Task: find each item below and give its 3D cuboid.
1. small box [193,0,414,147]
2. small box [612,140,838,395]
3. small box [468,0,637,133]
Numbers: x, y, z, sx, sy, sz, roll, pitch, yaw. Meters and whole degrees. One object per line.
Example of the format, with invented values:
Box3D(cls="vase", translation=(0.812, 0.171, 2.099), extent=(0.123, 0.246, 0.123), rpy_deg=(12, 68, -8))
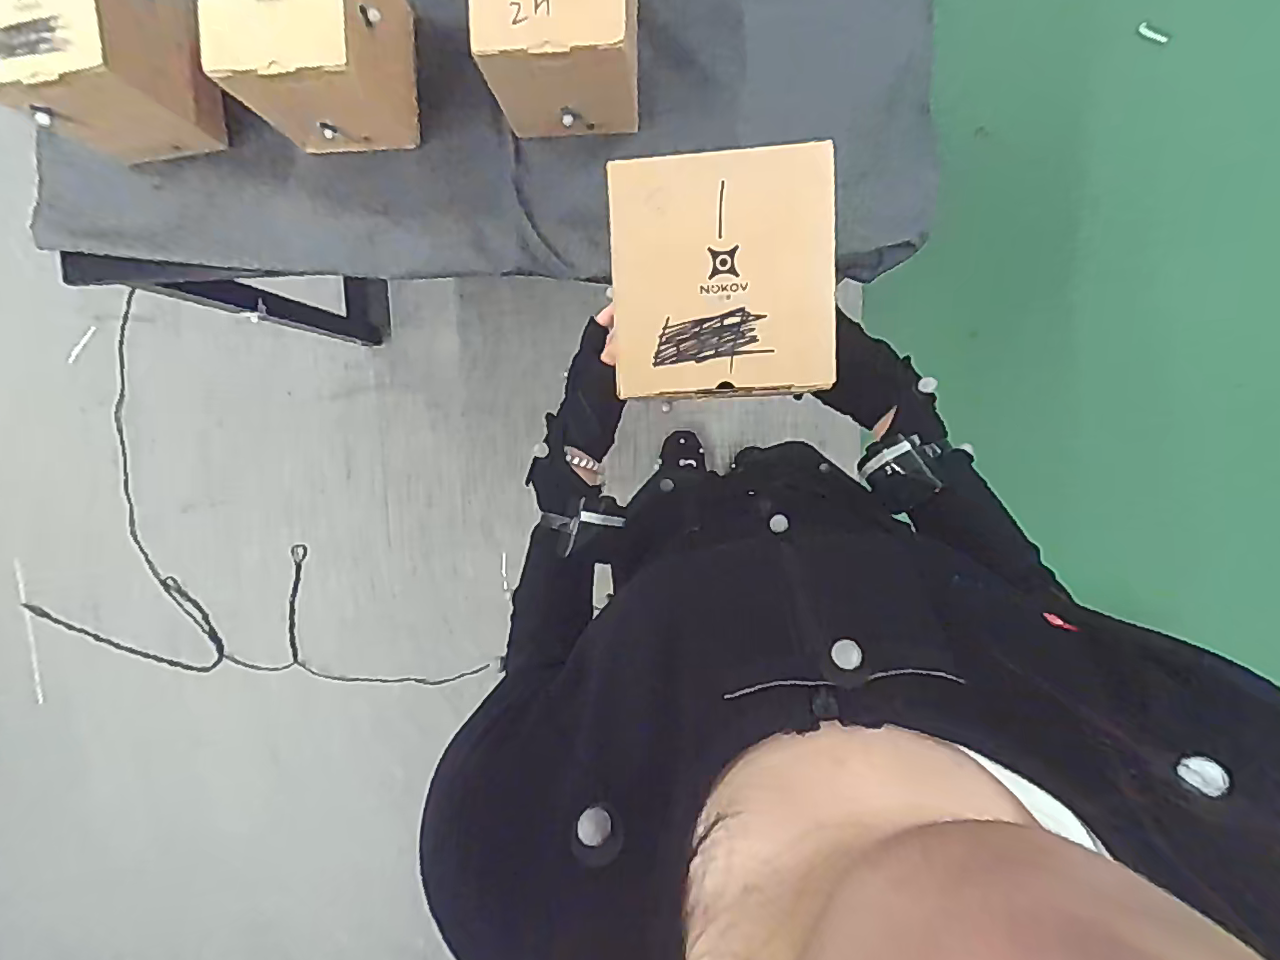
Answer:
Box3D(cls="small box", translation=(-0.390, -0.536, 0.650), extent=(0.168, 0.176, 0.179), rpy_deg=(-1, 96, 3))
Box3D(cls="small box", translation=(0.069, -0.166, 0.481), extent=(0.168, 0.176, 0.179), rpy_deg=(-2, 97, 4))
Box3D(cls="small box", translation=(-0.092, -0.542, 0.631), extent=(0.168, 0.176, 0.179), rpy_deg=(0, 96, 4))
